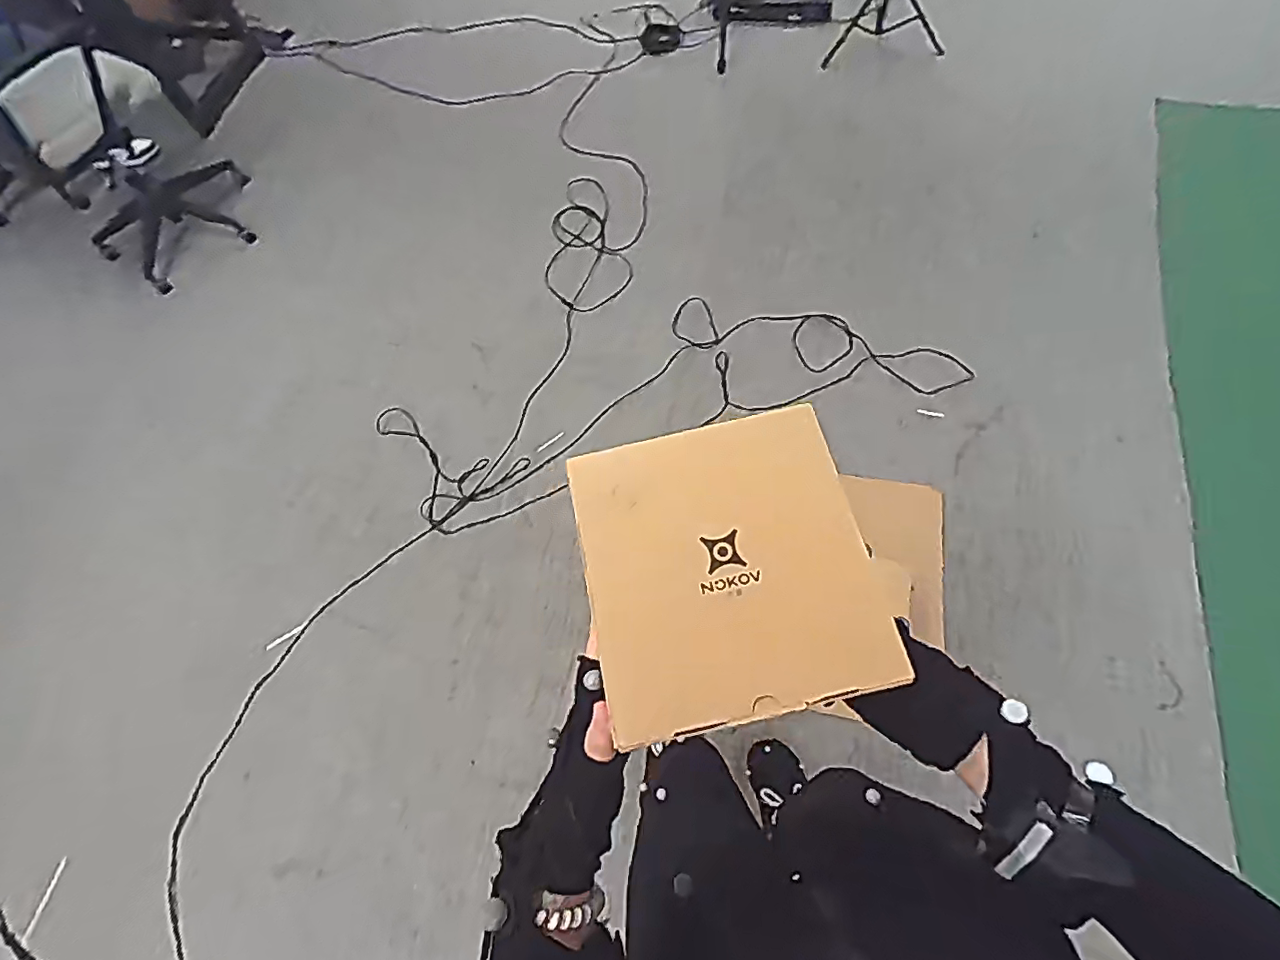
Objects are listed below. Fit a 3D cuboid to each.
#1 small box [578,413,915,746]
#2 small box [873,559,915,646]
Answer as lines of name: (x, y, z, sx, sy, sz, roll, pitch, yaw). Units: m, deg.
small box: (0.058, 0.078, 0.395, 0.168, 0.176, 0.179, -12, 69, -1)
small box: (0.519, 0.288, 1.258, 0.168, 0.176, 0.179, 11, 70, 13)
